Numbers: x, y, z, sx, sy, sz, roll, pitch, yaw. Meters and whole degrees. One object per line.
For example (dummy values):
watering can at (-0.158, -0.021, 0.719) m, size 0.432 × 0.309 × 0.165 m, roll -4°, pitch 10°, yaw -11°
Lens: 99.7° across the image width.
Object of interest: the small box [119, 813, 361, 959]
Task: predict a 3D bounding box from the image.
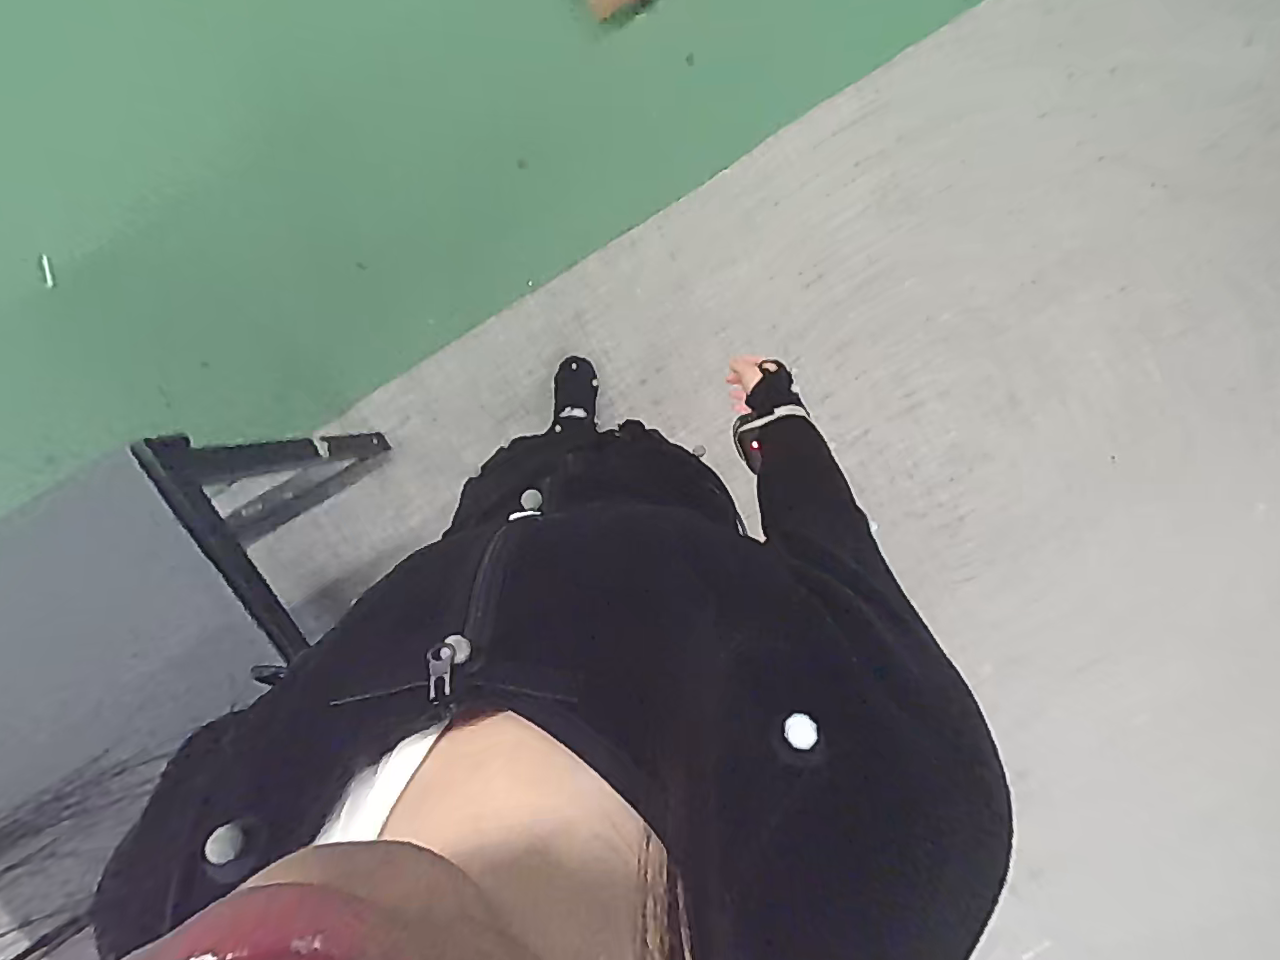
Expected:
small box at (-0.527, 0.608, 0.733) m, size 0.179 × 0.176 × 0.168 m, roll -31°, pitch 97°, yaw 3°

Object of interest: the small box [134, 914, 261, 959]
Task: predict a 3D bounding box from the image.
small box at (-0.526, 0.627, 0.572) m, size 0.179 × 0.176 × 0.168 m, roll -31°, pitch 96°, yaw 3°
